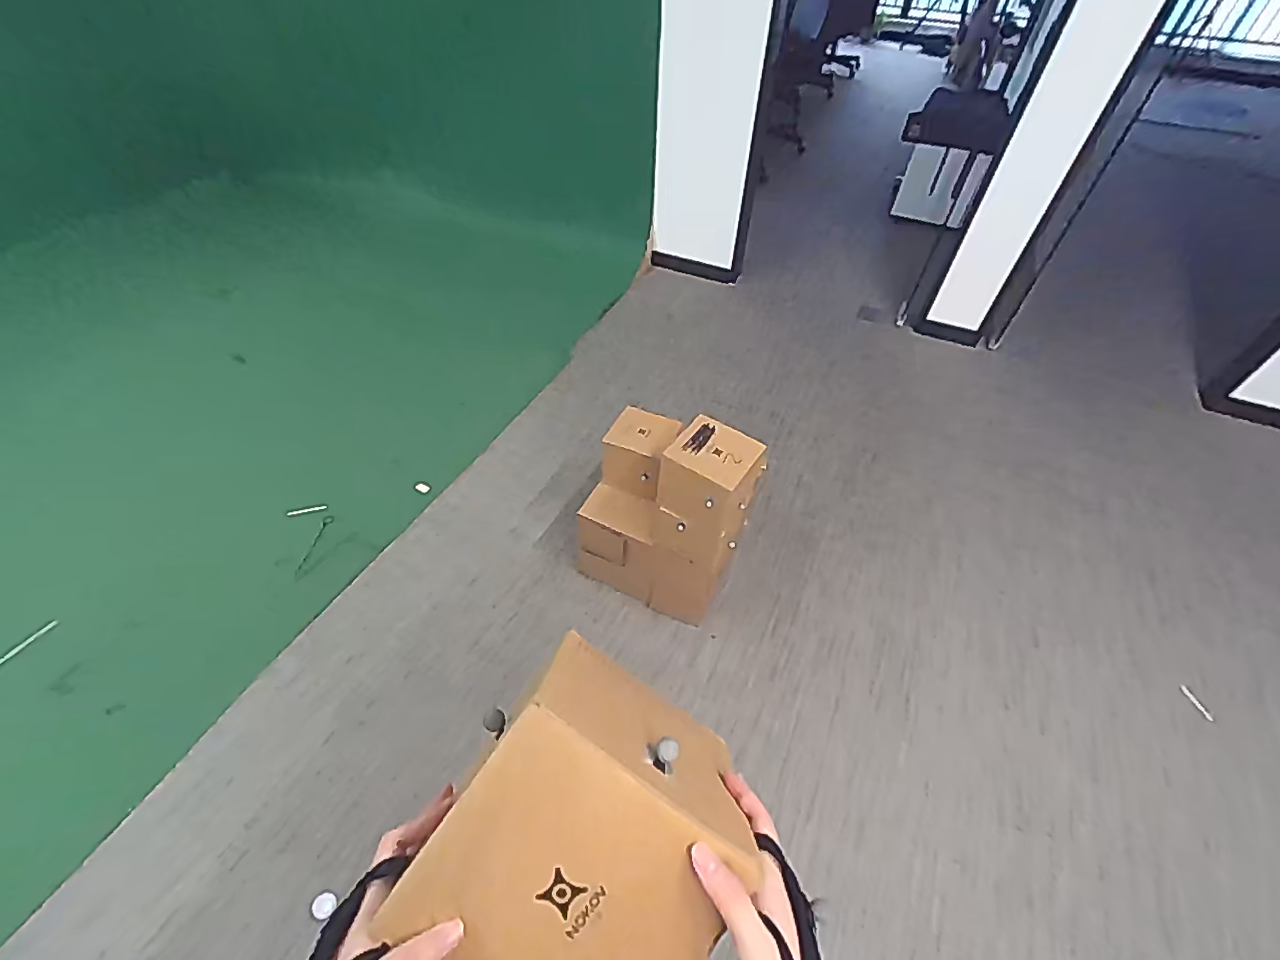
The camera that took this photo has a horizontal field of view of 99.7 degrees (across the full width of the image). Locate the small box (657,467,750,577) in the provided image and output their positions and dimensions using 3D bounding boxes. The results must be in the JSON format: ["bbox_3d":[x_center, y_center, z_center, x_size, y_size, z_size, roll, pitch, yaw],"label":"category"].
[{"bbox_3d":[0.153,0.106,1.356,0.168,0.176,0.179,25,51,18],"label":"small box"}]

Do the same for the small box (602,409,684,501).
[{"bbox_3d":[0.008,-0.066,1.509,0.179,0.176,0.168,20,48,16],"label":"small box"}]
